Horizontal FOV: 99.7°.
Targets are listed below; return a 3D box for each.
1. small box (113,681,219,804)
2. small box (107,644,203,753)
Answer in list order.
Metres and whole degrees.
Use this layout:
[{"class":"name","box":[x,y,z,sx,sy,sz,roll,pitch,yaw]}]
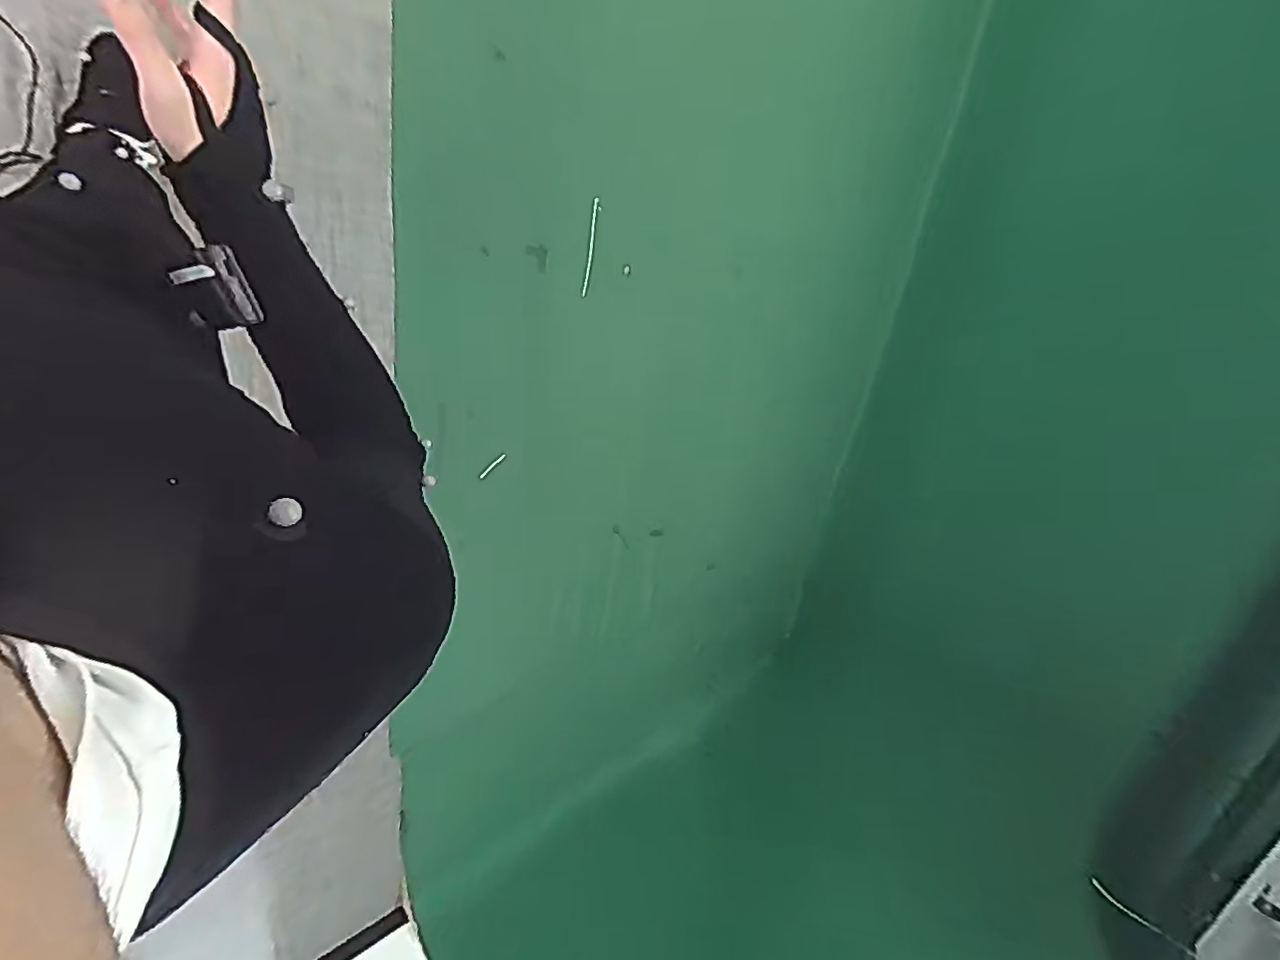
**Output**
[{"class":"small box","box":[-1.121,0.609,1.281,0.179,0.176,0.168,-4,113,-43]},{"class":"small box","box":[-1.236,0.550,1.385,0.179,0.176,0.168,-5,115,-43]}]
